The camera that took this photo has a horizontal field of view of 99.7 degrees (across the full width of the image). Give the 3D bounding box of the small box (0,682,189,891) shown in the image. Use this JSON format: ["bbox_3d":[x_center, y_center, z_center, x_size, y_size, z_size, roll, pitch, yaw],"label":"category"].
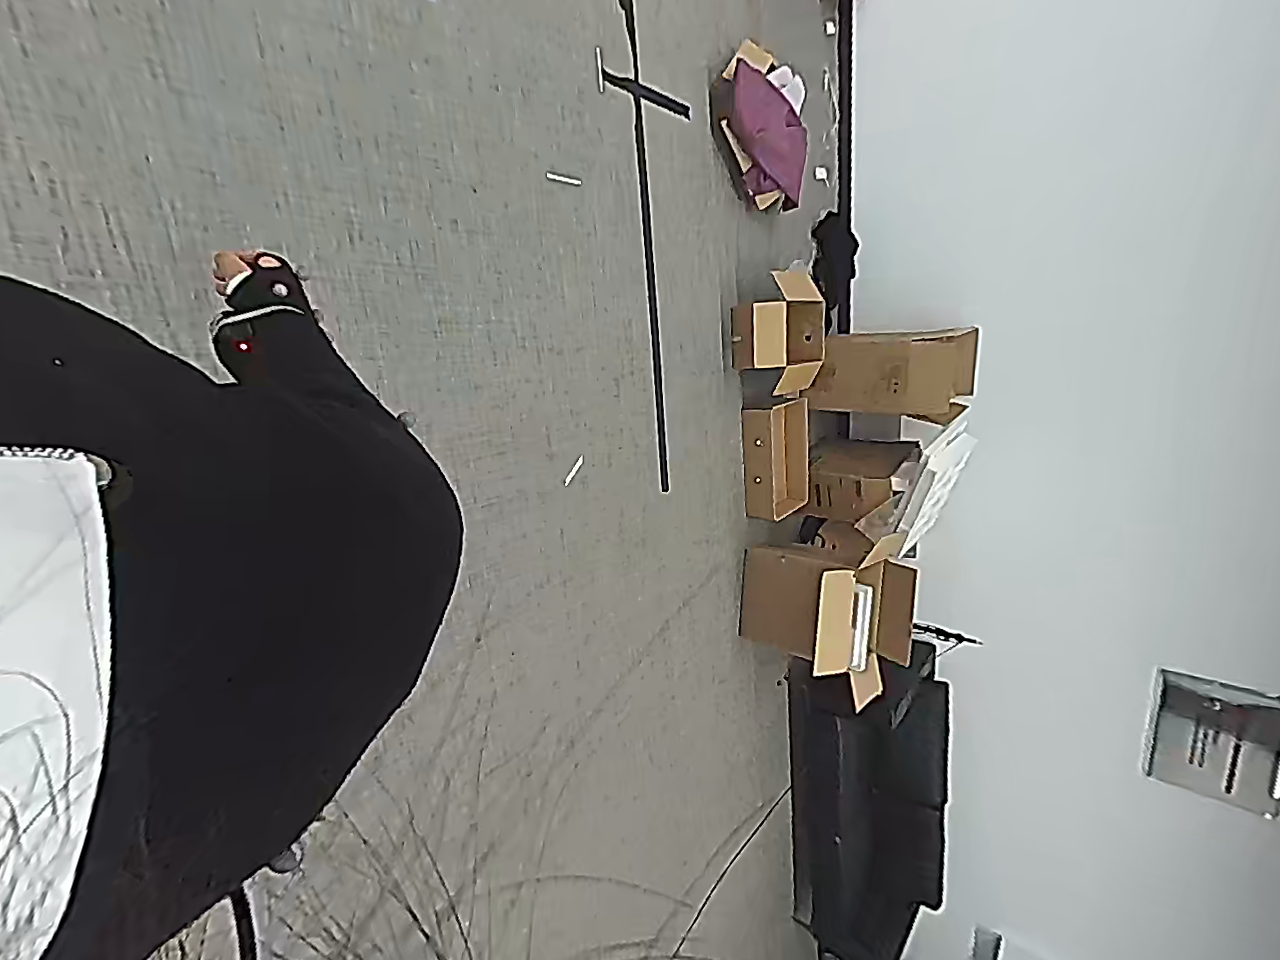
[{"bbox_3d":[-0.811,0.437,0.804,0.168,0.176,0.179,-23,112,-44],"label":"small box"}]

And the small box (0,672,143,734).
[{"bbox_3d":[-0.934,0.415,0.910,0.168,0.176,0.179,-22,112,-45],"label":"small box"}]
